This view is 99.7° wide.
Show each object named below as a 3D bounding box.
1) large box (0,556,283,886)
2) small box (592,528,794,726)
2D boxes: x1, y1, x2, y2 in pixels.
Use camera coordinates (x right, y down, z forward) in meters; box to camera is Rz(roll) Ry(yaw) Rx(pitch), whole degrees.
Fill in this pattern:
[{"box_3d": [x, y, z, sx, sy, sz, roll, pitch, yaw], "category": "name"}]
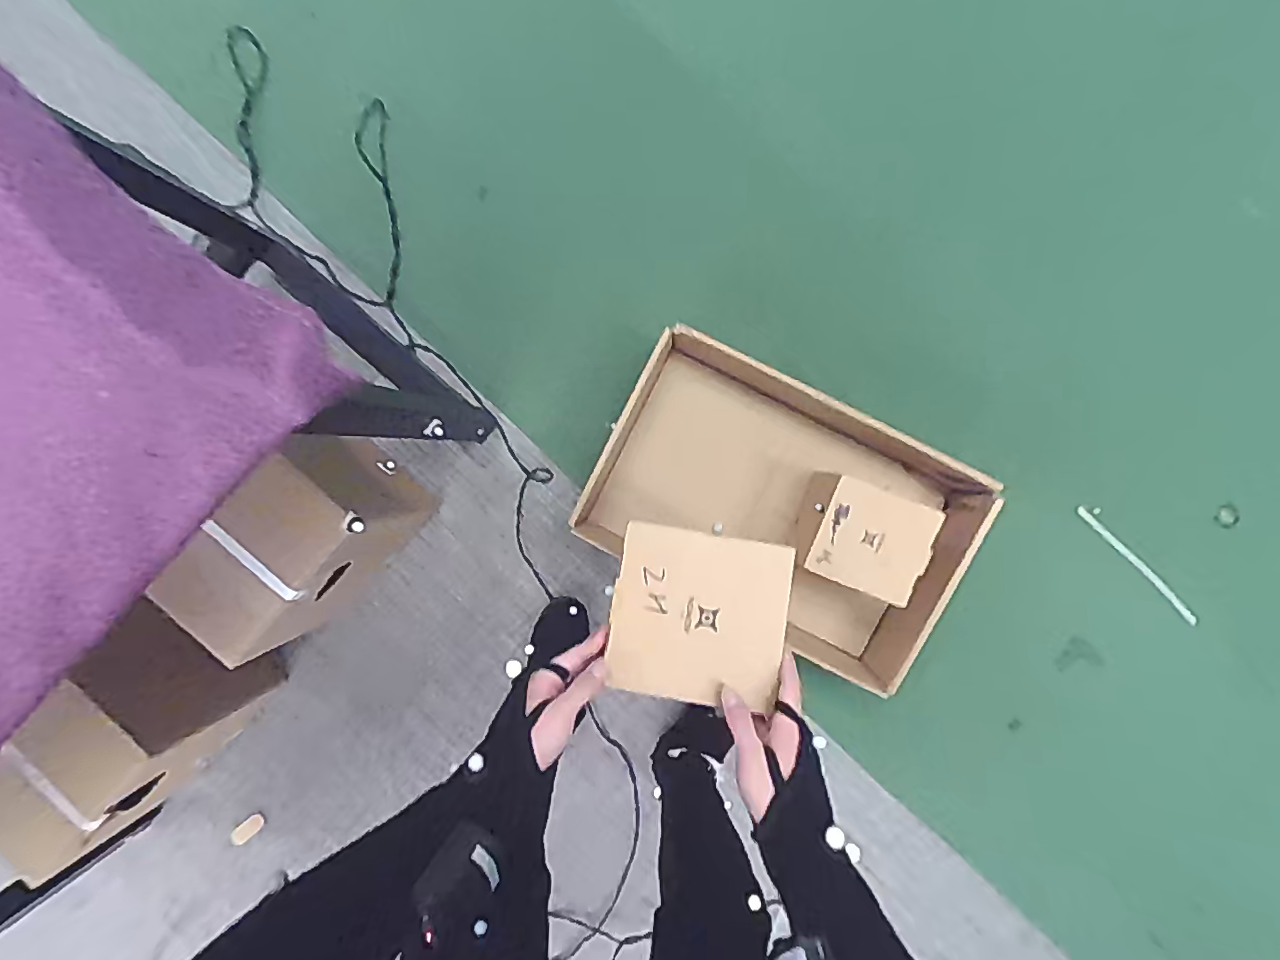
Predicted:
[{"box_3d": [-0.998, 0.405, 1.006, 0.408, 0.320, 0.320, 44, 93, 2], "category": "large box"}, {"box_3d": [0.053, 0.151, 0.600, 0.179, 0.176, 0.168, 9, 81, 2], "category": "small box"}]
